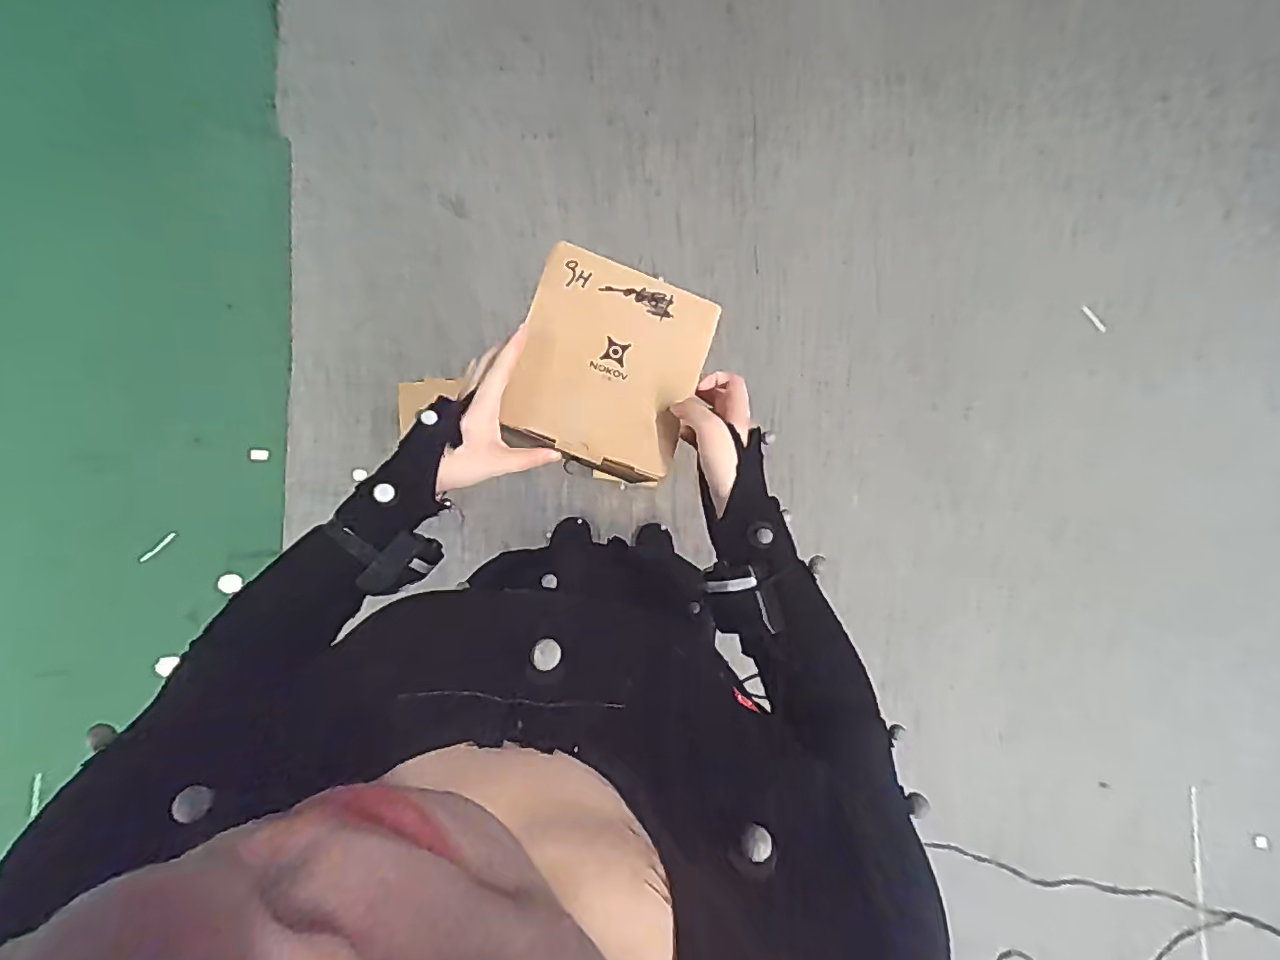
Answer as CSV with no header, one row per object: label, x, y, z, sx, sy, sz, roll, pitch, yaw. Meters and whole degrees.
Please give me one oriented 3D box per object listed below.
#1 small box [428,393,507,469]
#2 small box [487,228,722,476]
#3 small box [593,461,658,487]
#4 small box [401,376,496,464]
small box,-0.452,-0.126,1.420,0.168,0.176,0.179,-4,88,-1
small box,-0.040,-0.111,0.553,0.168,0.176,0.179,19,87,-9
small box,-0.026,-0.080,1.424,0.168,0.176,0.179,10,88,0
small box,-0.439,-0.135,1.262,0.168,0.176,0.179,-2,86,0
